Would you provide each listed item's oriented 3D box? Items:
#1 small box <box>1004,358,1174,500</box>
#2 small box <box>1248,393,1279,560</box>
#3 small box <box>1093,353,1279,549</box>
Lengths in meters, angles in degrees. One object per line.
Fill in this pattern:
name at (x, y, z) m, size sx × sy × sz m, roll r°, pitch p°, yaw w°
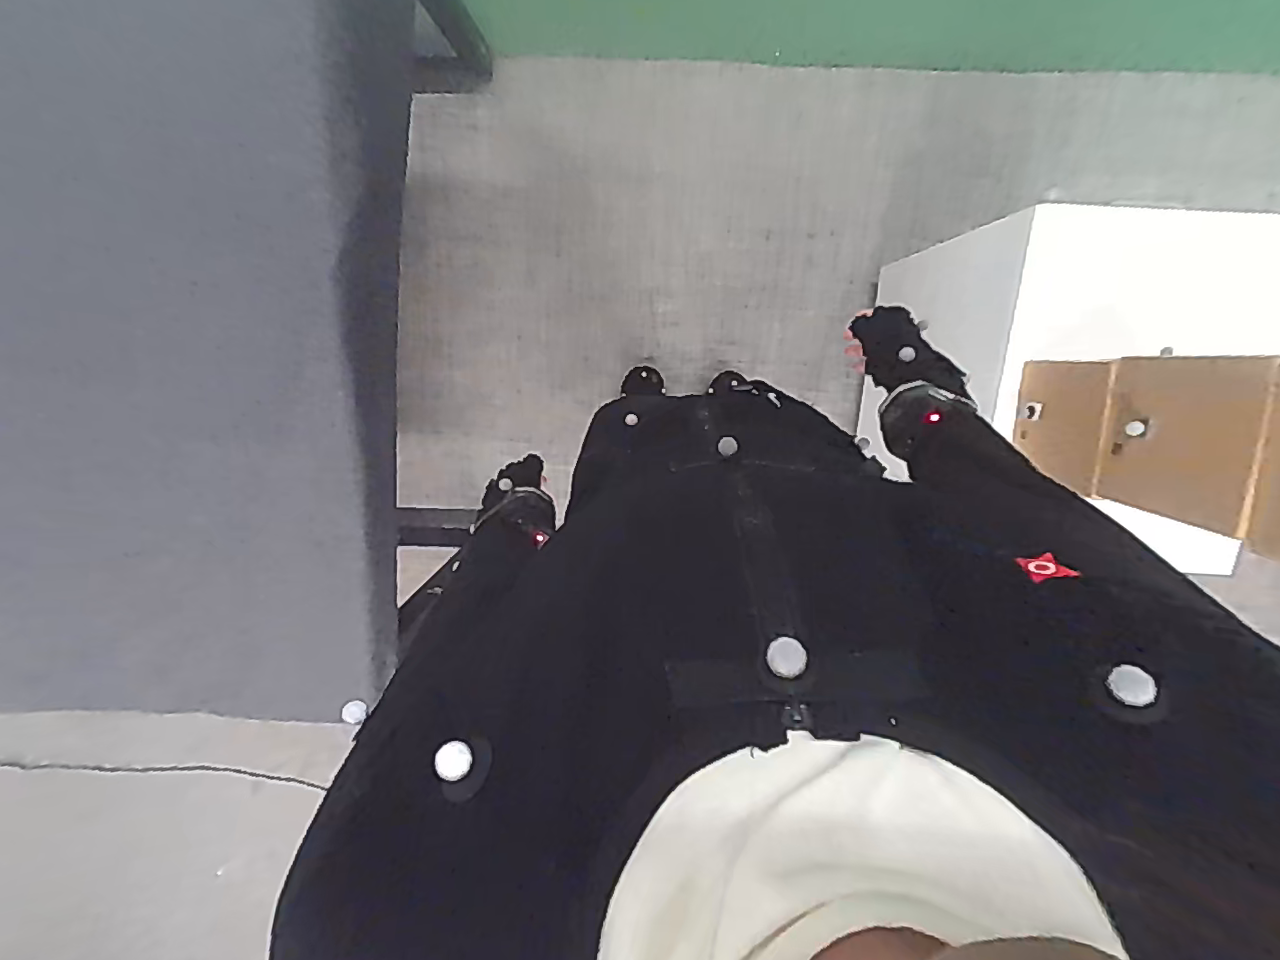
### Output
small box at (0.619, -0.073, 0.701) m, size 0.179 × 0.176 × 0.168 m, roll -1°, pitch 102°, yaw 4°
small box at (0.606, -0.002, 0.381) m, size 0.168 × 0.176 × 0.179 m, roll -2°, pitch 102°, yaw 4°
small box at (0.616, -0.039, 0.540) m, size 0.179 × 0.176 × 0.168 m, roll -3°, pitch 103°, yaw 2°
